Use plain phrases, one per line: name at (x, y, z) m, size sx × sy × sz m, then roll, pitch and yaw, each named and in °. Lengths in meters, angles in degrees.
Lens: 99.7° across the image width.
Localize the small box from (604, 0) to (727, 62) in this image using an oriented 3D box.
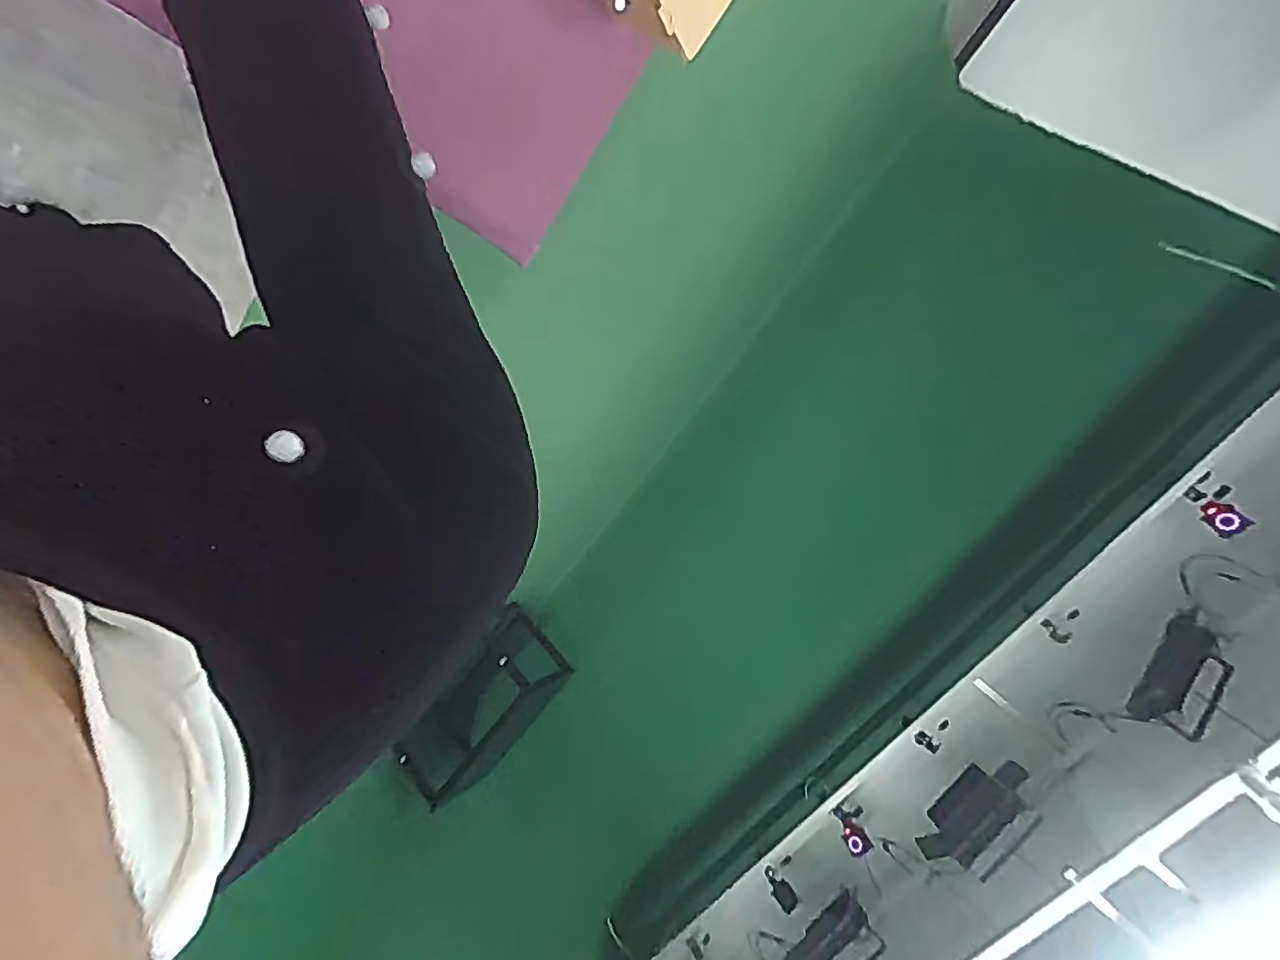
small box at (0.028, -0.749, 0.747) m, size 0.179 × 0.176 × 0.168 m, roll -49°, pitch 160°, yaw 15°
